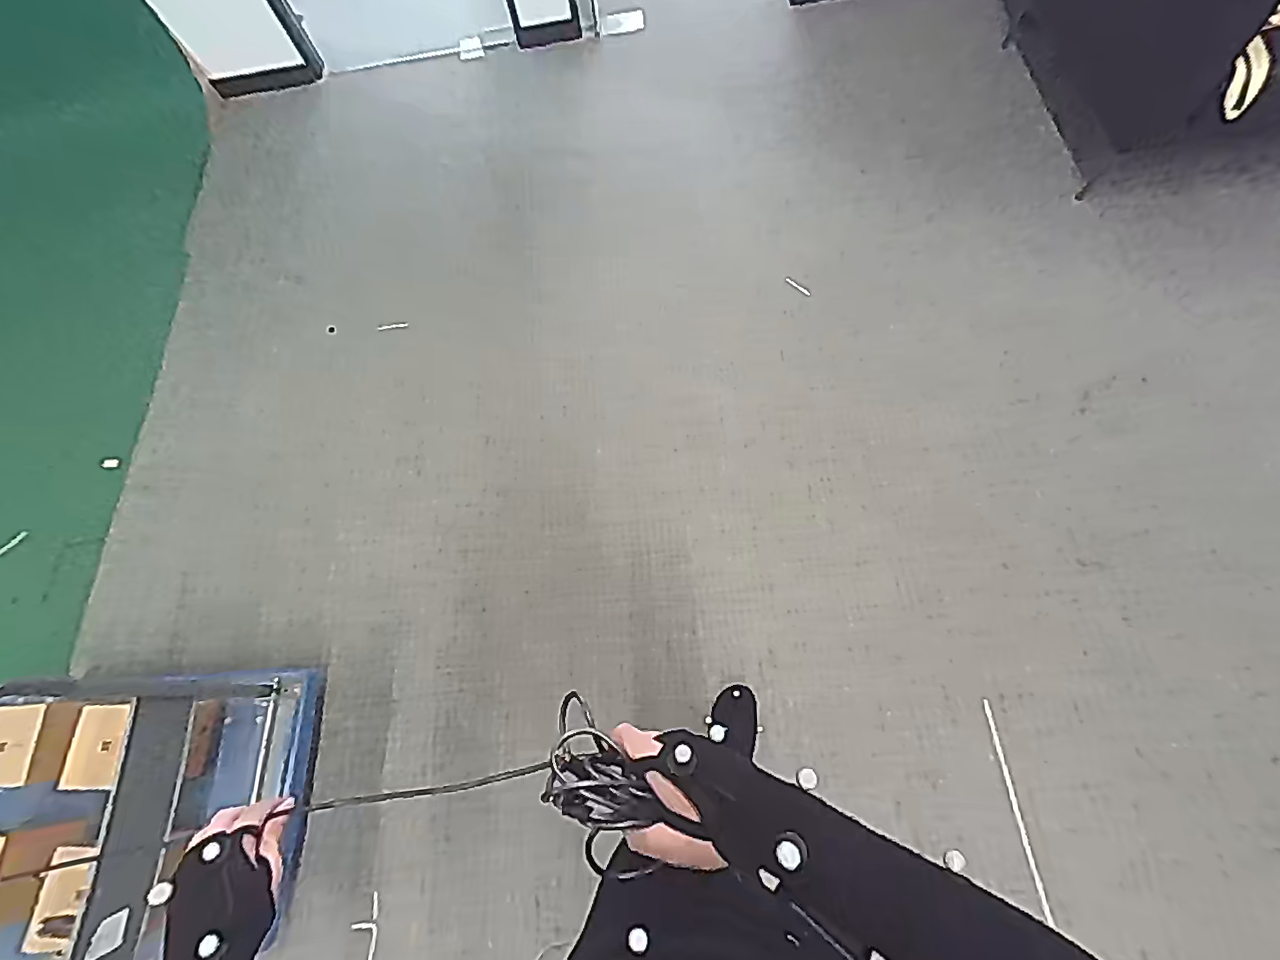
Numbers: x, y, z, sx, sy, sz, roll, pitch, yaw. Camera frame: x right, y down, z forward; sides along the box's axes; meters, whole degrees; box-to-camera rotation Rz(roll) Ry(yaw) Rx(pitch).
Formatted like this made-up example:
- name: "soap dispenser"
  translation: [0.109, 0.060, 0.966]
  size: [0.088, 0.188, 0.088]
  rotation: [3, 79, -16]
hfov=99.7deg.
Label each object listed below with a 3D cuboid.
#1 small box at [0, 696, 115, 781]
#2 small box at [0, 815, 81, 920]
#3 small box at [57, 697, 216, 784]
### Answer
- name: "small box"
  translation: [-1.382, 0.590, 1.241]
  size: [0.179, 0.176, 0.168]
  rotation: [-5, 69, 2]
- name: "small box"
  translation: [-1.367, 0.829, 1.150]
  size: [0.179, 0.176, 0.168]
  rotation: [-7, 68, 2]
- name: "small box"
  translation: [-1.124, 0.583, 1.223]
  size: [0.179, 0.176, 0.168]
  rotation: [-2, 69, 4]
